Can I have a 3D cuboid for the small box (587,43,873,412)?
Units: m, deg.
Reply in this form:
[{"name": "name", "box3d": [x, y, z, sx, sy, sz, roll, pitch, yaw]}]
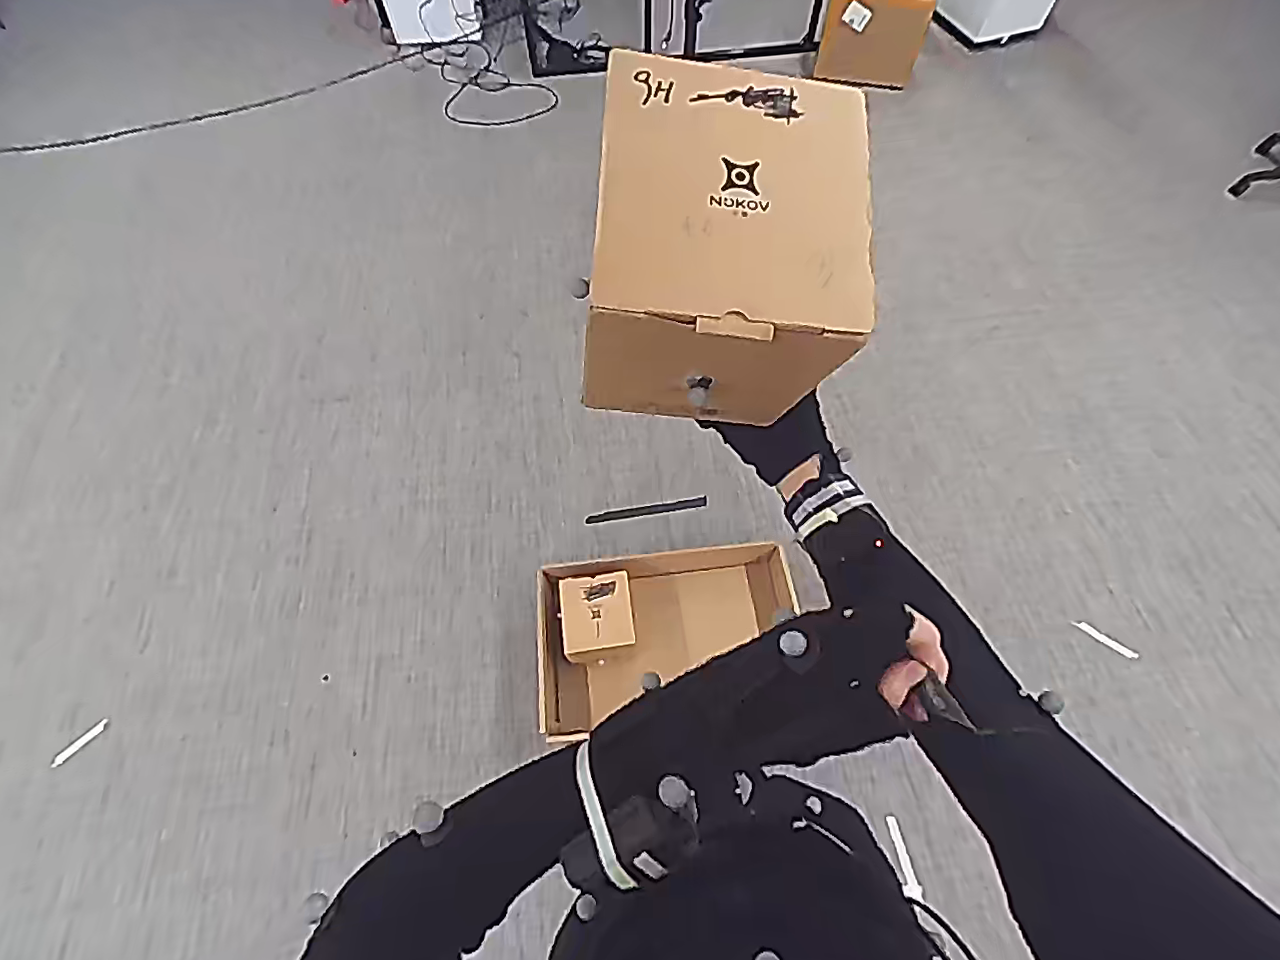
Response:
[{"name": "small box", "box3d": [0.050, -0.159, 0.397, 0.168, 0.176, 0.179, 4, 79, -6]}]
